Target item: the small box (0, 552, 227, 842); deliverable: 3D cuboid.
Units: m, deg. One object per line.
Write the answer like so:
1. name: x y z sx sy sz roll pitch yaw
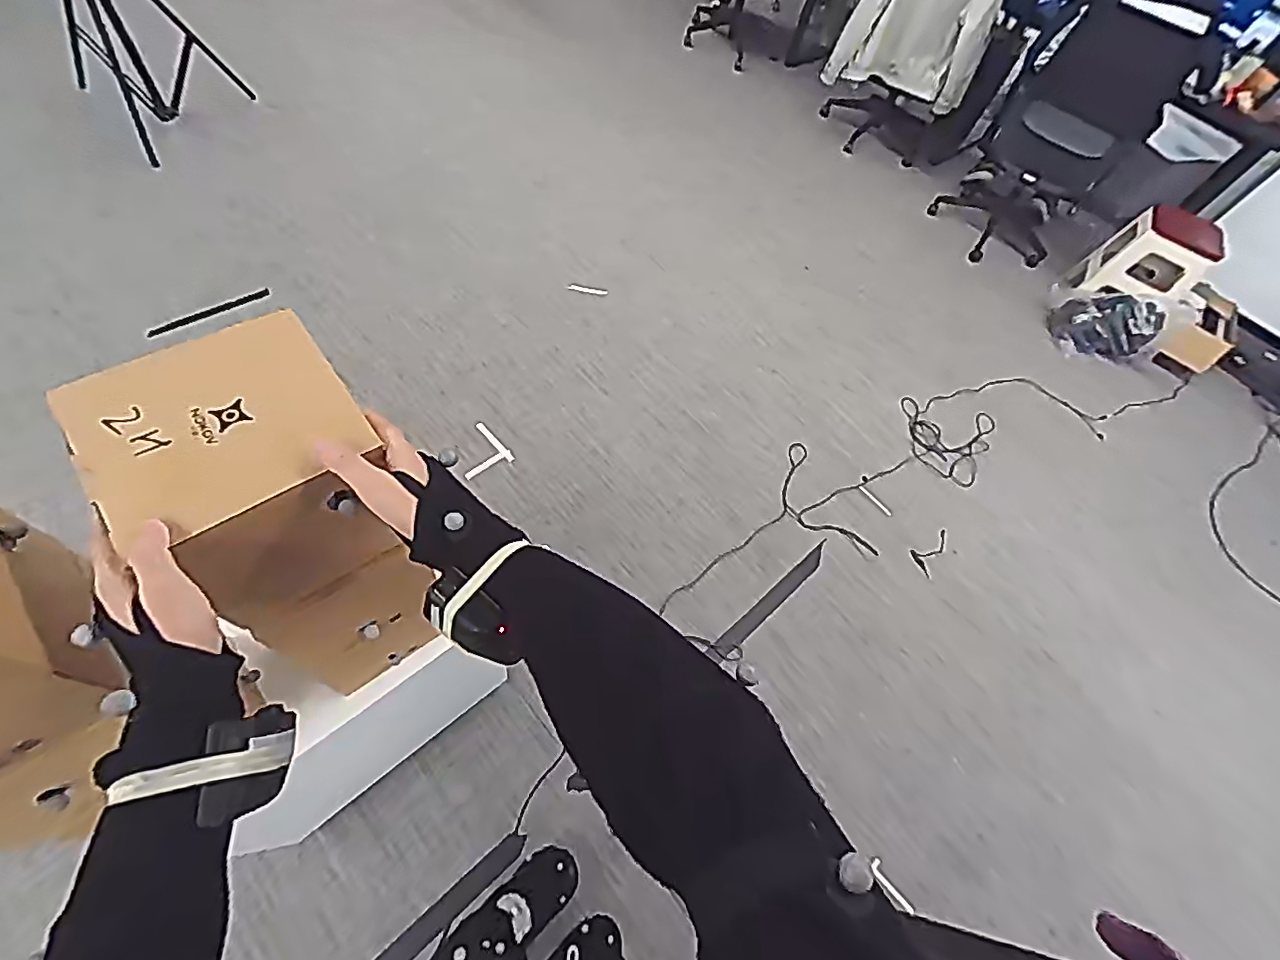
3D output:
1. small box: -0.538 0.204 0.503 0.168 0.176 0.179 -36 72 -27

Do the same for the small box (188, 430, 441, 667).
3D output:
1. small box: -0.349 0.083 0.611 0.168 0.176 0.179 -33 72 -26

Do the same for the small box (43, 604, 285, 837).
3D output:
1. small box: -0.567 0.285 0.640 0.168 0.176 0.179 -34 70 -26

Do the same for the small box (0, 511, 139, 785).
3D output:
1. small box: -0.510 0.120 0.367 0.168 0.176 0.179 -36 73 -26
